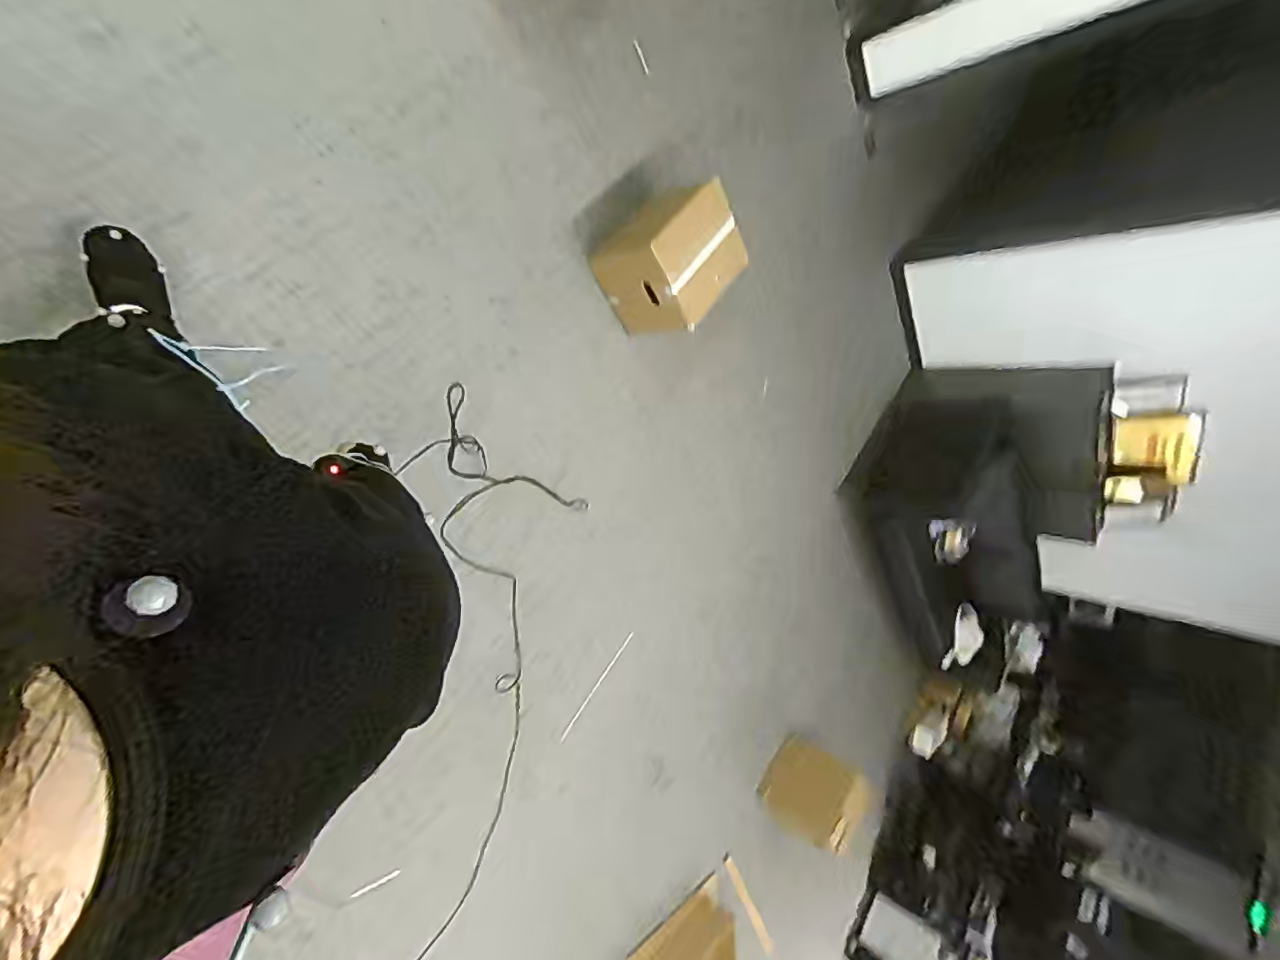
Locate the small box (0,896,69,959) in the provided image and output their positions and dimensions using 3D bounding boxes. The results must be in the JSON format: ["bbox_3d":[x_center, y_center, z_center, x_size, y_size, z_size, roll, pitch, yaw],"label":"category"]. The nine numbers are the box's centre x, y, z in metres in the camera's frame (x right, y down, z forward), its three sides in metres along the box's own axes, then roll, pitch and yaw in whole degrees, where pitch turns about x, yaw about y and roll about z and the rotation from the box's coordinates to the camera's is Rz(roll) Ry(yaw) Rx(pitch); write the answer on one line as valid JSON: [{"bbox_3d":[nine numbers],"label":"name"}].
[{"bbox_3d":[-0.667,0.513,0.478,0.179,0.176,0.168,-52,130,-23],"label":"small box"}]
